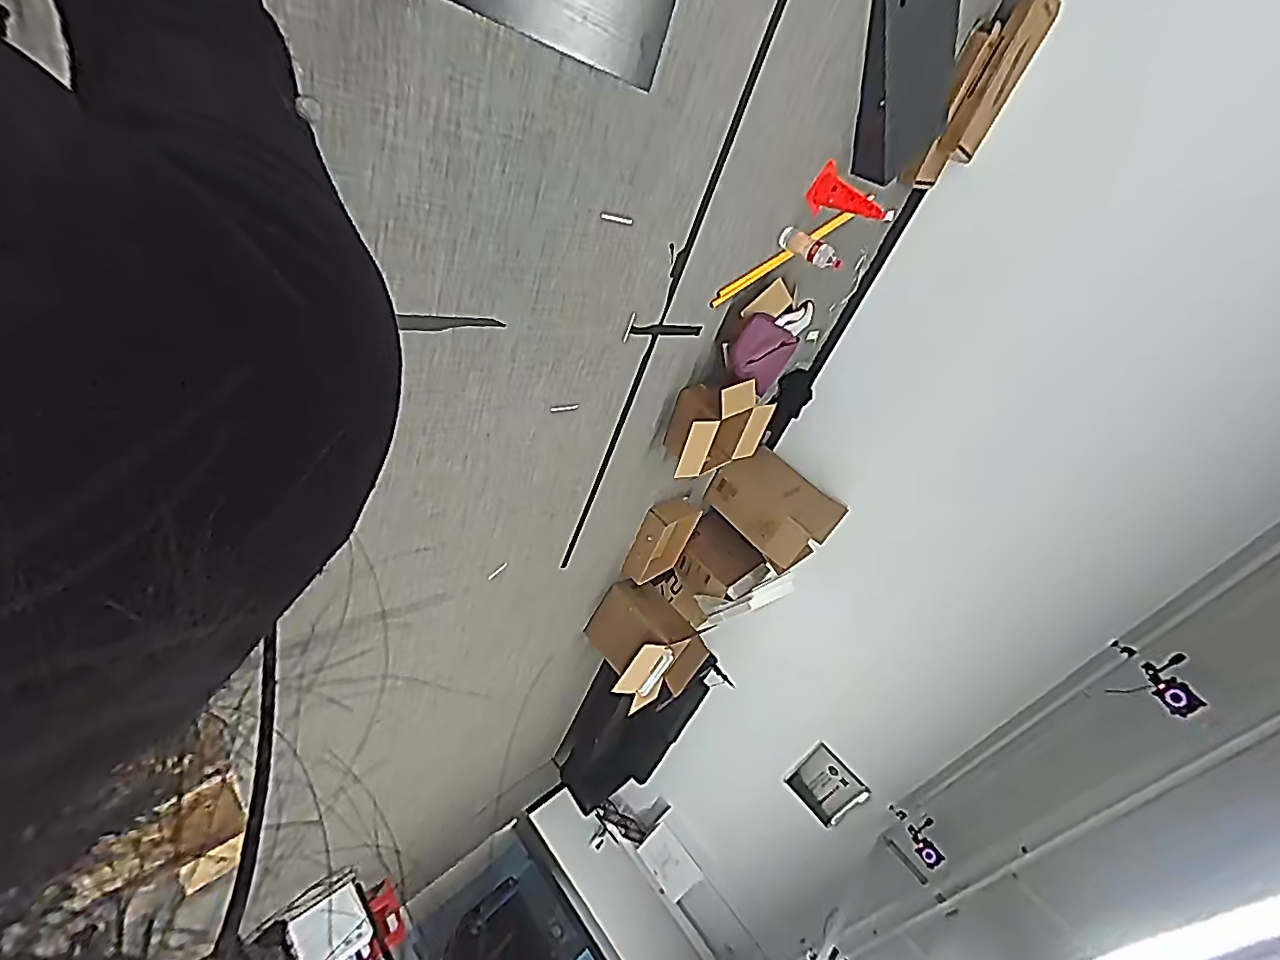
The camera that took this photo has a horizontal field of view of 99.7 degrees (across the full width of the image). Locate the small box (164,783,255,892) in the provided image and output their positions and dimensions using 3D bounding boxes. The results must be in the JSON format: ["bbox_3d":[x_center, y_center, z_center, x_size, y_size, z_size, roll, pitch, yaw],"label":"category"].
[{"bbox_3d":[-1.250,1.031,1.574,0.168,0.176,0.179,-19,138,-46],"label":"small box"}]
